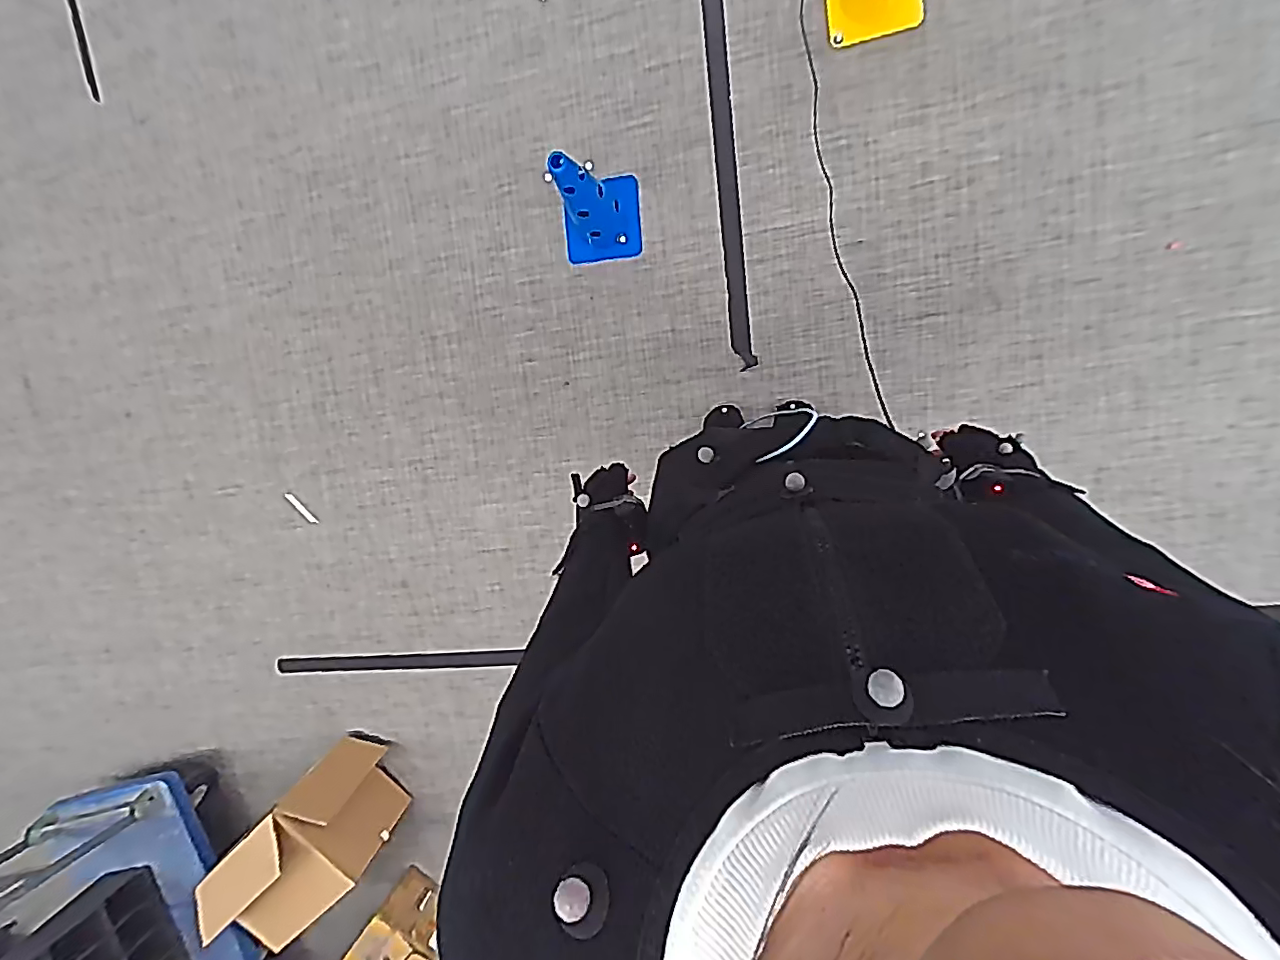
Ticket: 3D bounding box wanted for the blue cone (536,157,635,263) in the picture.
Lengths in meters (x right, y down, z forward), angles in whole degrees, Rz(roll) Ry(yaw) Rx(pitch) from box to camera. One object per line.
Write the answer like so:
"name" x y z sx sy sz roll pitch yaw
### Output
"blue cone" -0.142 -0.646 1.240 0.192 0.380 0.193 -1 98 12
